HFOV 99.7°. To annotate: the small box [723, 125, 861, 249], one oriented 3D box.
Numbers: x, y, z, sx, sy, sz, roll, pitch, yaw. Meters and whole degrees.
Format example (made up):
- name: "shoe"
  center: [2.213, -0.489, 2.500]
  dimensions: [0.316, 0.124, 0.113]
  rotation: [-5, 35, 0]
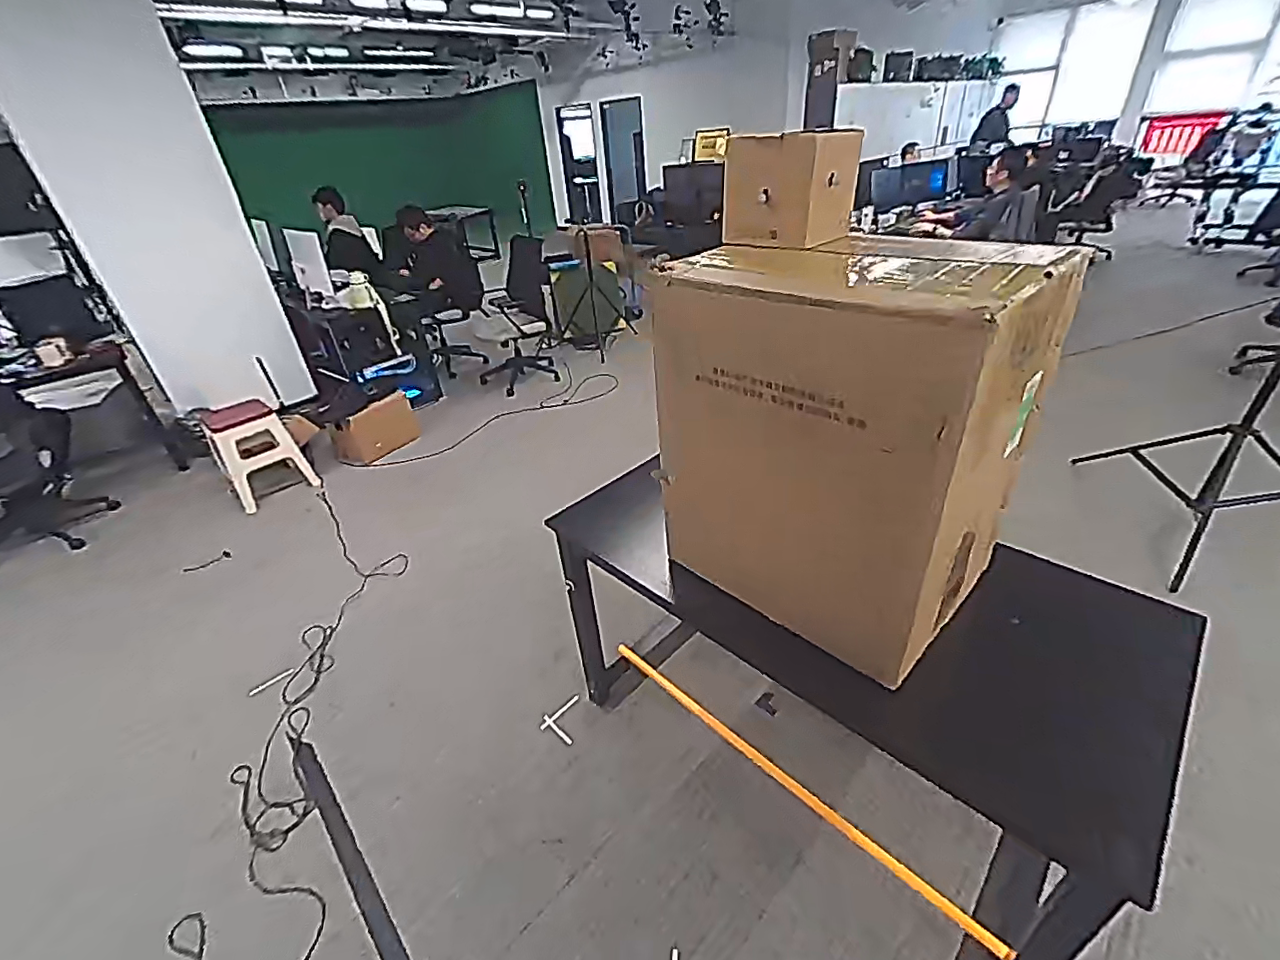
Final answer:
- name: "small box"
  center: [0.260, -0.507, 0.939]
  dimensions: [0.168, 0.176, 0.179]
  rotation: [23, 41, 35]
